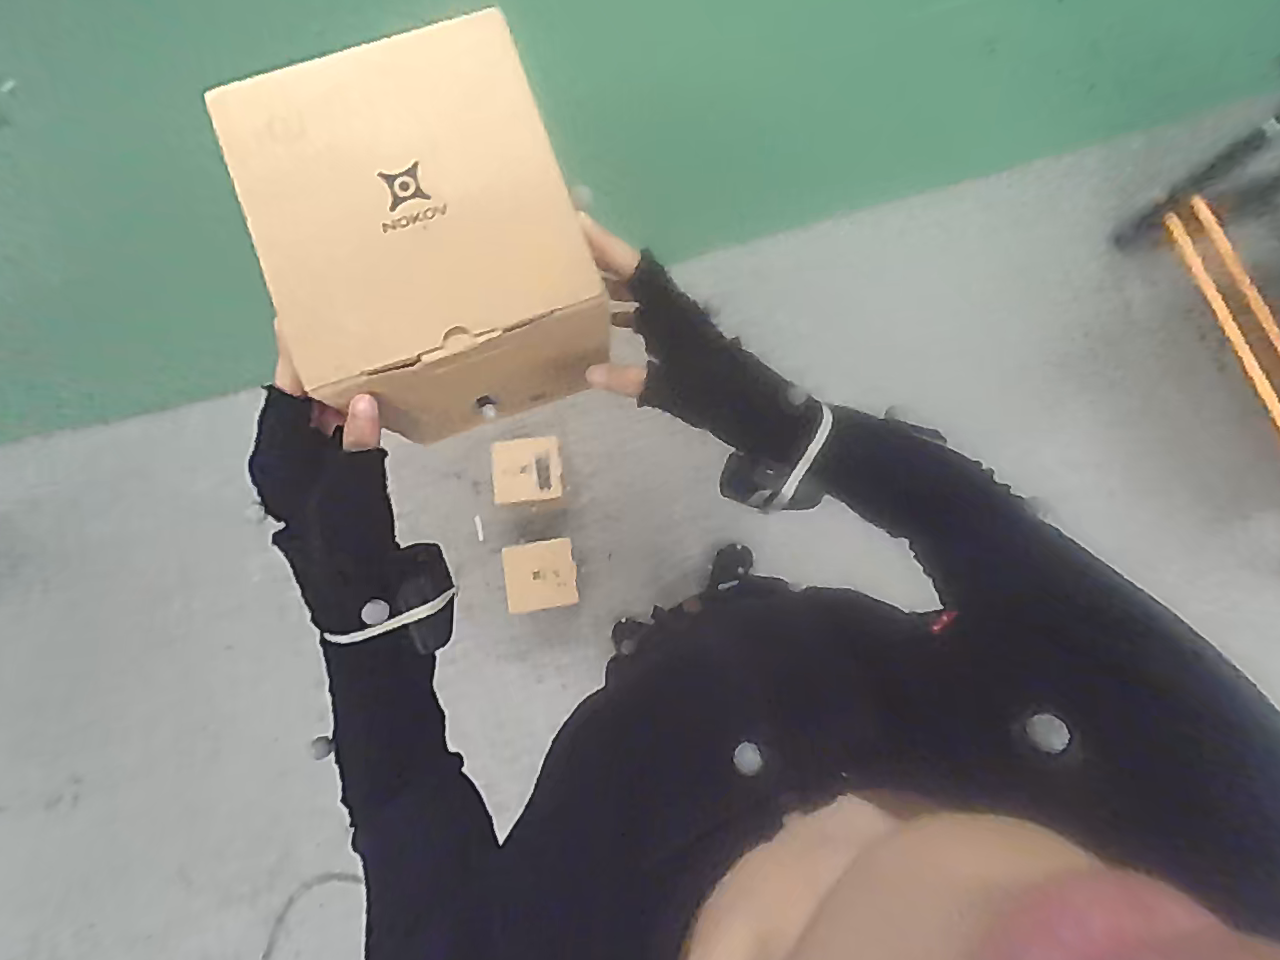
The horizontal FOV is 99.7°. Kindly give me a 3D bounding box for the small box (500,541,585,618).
[{"bbox_3d":[-0.247,0.259,1.396,0.179,0.176,0.168,-9,79,-2],"label":"small box"}]
